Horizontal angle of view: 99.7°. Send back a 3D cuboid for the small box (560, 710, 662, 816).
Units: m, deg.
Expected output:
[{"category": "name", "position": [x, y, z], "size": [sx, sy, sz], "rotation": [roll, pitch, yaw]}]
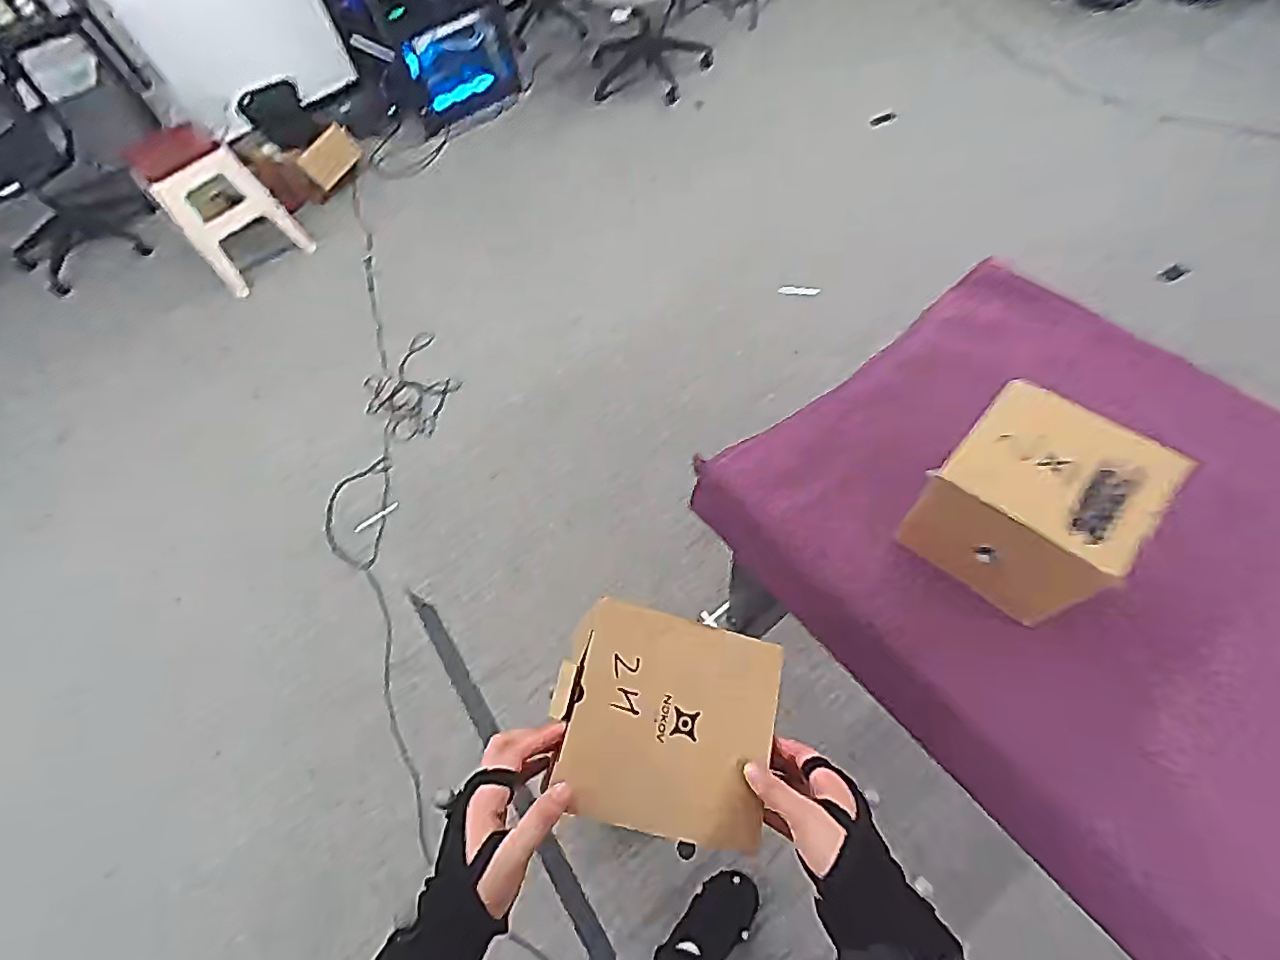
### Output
[{"category": "small box", "position": [-0.060, 0.625, 1.192], "size": [0.179, 0.176, 0.168], "rotation": [-16, 60, -3]}]
